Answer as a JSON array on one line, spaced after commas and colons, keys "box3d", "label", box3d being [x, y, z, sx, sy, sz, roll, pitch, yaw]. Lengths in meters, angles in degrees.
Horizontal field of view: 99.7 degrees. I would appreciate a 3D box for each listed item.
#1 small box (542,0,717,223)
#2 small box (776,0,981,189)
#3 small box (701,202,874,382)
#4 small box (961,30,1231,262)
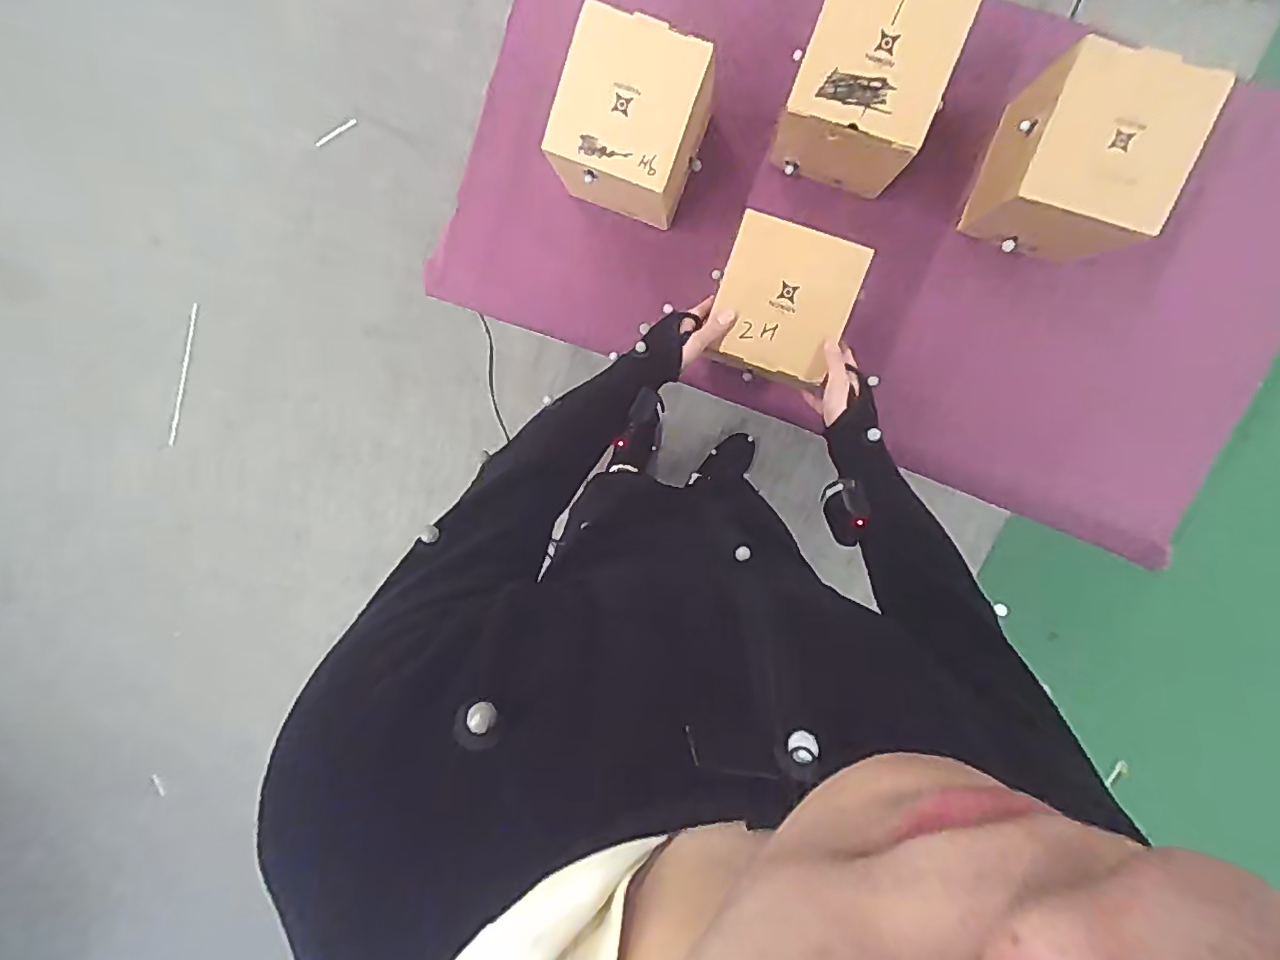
[{"box3d": [-0.008, -0.481, 0.726, 0.168, 0.176, 0.179, 22, 101, 3], "label": "small box"}, {"box3d": [0.286, -0.507, 0.694, 0.168, 0.176, 0.179, 20, 101, 2], "label": "small box"}, {"box3d": [0.187, -0.245, 0.749, 0.168, 0.176, 0.179, 20, 101, 2], "label": "small box"}, {"box3d": [0.550, -0.403, 0.687, 0.168, 0.176, 0.179, 20, 102, 3], "label": "small box"}]
